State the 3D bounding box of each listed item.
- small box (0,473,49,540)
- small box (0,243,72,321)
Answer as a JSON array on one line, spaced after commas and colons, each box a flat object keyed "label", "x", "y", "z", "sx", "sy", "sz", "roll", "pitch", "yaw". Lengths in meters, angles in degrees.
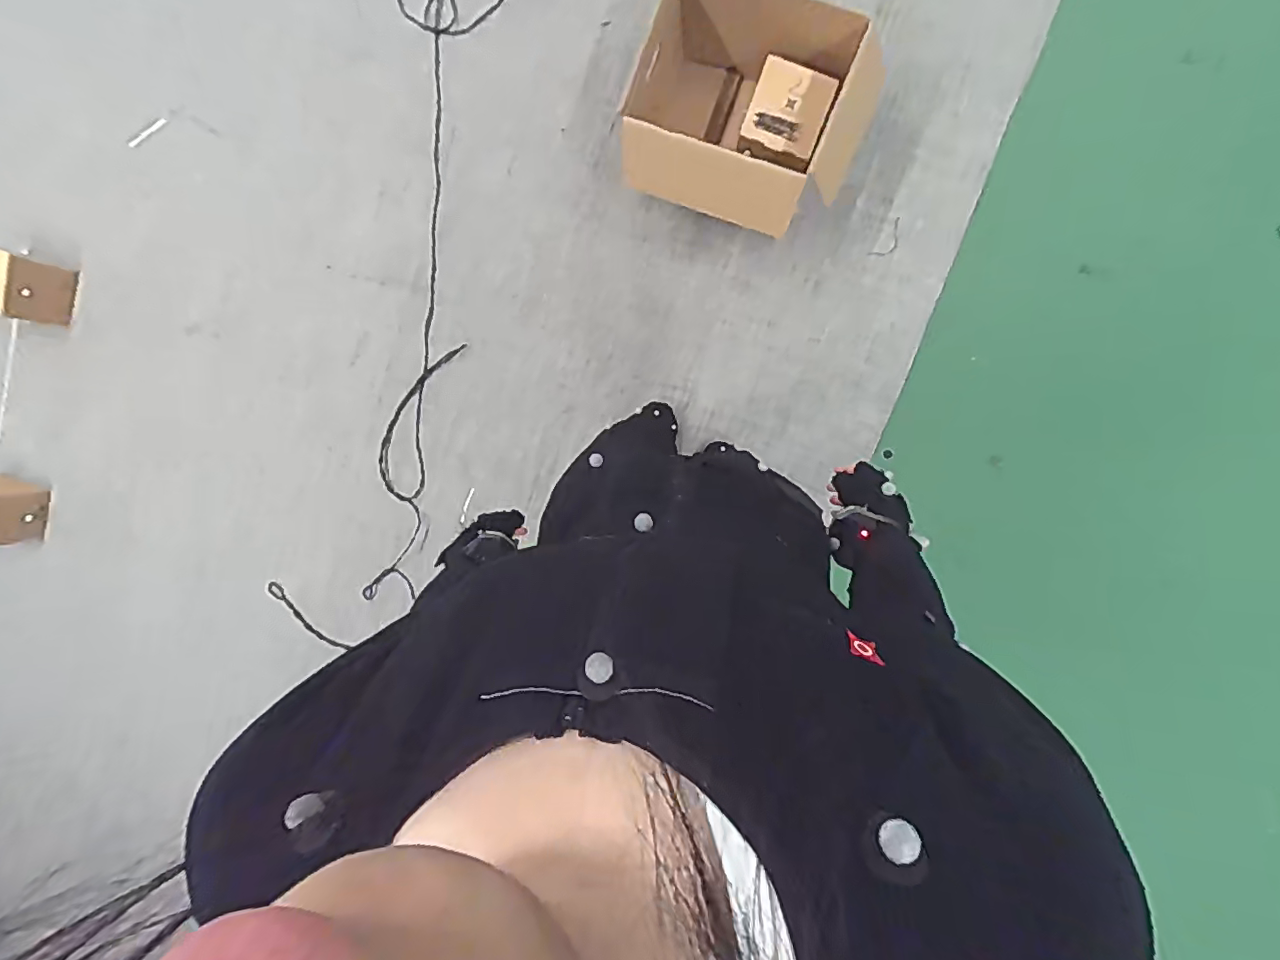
[{"label": "small box", "x": -1.971, "y": 0.082, "z": 1.635, "sx": 0.179, "sy": 0.176, "sz": 0.168, "roll": 18, "pitch": 99, "yaw": 4}, {"label": "small box", "x": -1.777, "y": -0.567, "z": 1.528, "sx": 0.168, "sy": 0.176, "sz": 0.179, "roll": 19, "pitch": 100, "yaw": 3}]
